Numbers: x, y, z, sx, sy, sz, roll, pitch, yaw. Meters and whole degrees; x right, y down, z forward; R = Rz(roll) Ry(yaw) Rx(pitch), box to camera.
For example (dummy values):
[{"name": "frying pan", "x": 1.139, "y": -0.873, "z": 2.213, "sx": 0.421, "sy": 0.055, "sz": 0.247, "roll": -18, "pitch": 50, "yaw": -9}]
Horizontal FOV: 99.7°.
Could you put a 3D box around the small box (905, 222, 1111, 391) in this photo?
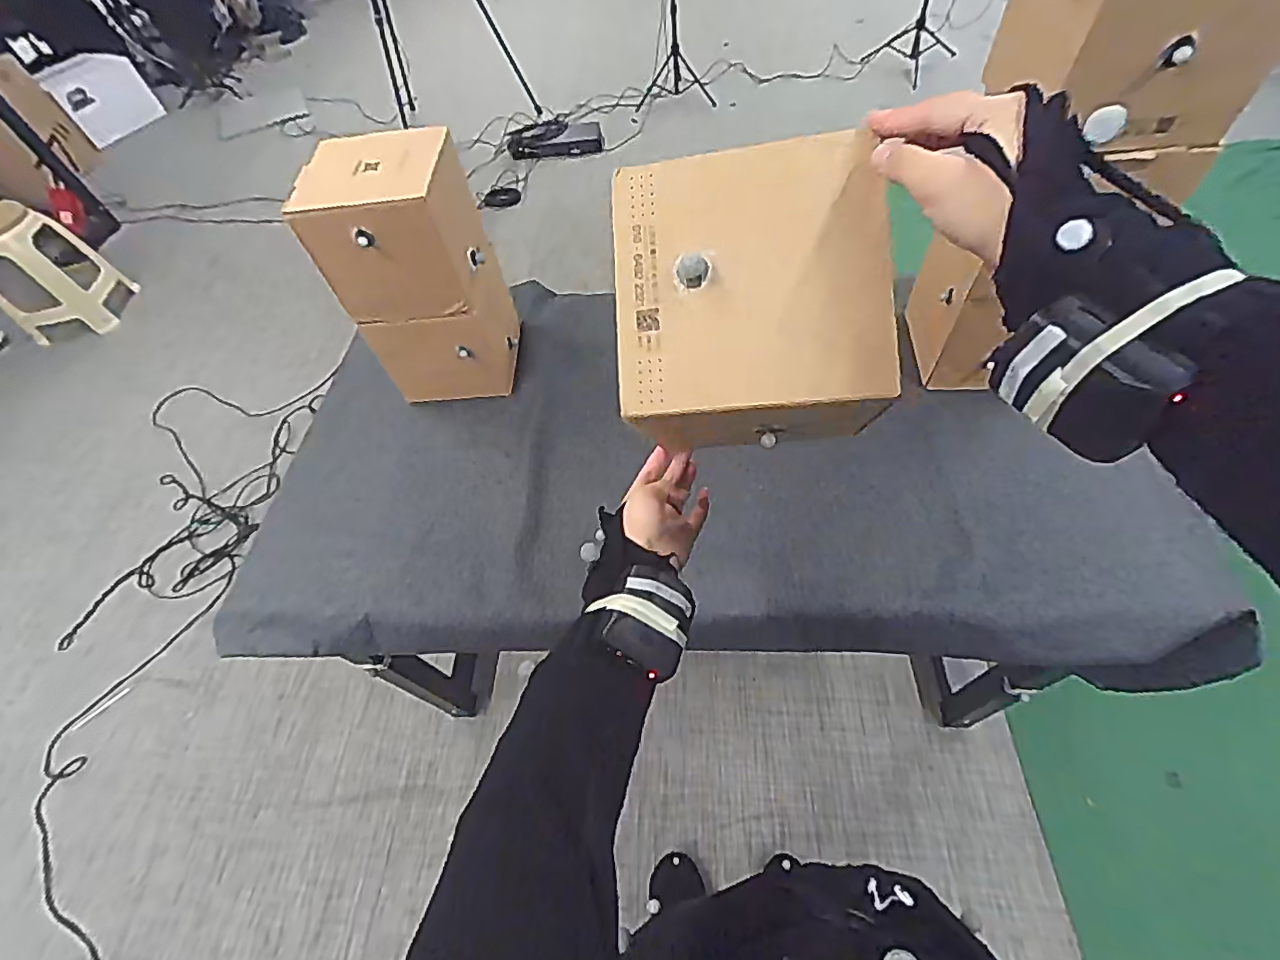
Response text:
[{"name": "small box", "x": 0.495, "y": -0.247, "z": 0.764, "sx": 0.168, "sy": 0.176, "sz": 0.179, "roll": 1, "pitch": 57, "yaw": 8}]

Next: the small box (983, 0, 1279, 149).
[{"name": "small box", "x": 0.450, "y": -0.424, "z": 0.489, "sx": 0.168, "sy": 0.176, "sz": 0.179, "roll": 0, "pitch": 57, "yaw": 7}]

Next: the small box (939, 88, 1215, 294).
[{"name": "small box", "x": 0.474, "y": -0.333, "z": 0.626, "sx": 0.168, "sy": 0.176, "sz": 0.179, "roll": 1, "pitch": 58, "yaw": 8}]

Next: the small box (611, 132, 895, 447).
[{"name": "small box", "x": 0.081, "y": -0.118, "z": 0.410, "sx": 0.176, "sy": 0.179, "sz": 0.168, "roll": -3, "pitch": 85, "yaw": 13}]

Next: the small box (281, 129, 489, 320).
[{"name": "small box", "x": -0.321, "y": -0.333, "z": 0.724, "sx": 0.179, "sy": 0.176, "sz": 0.168, "roll": -4, "pitch": 58, "yaw": 3}]
